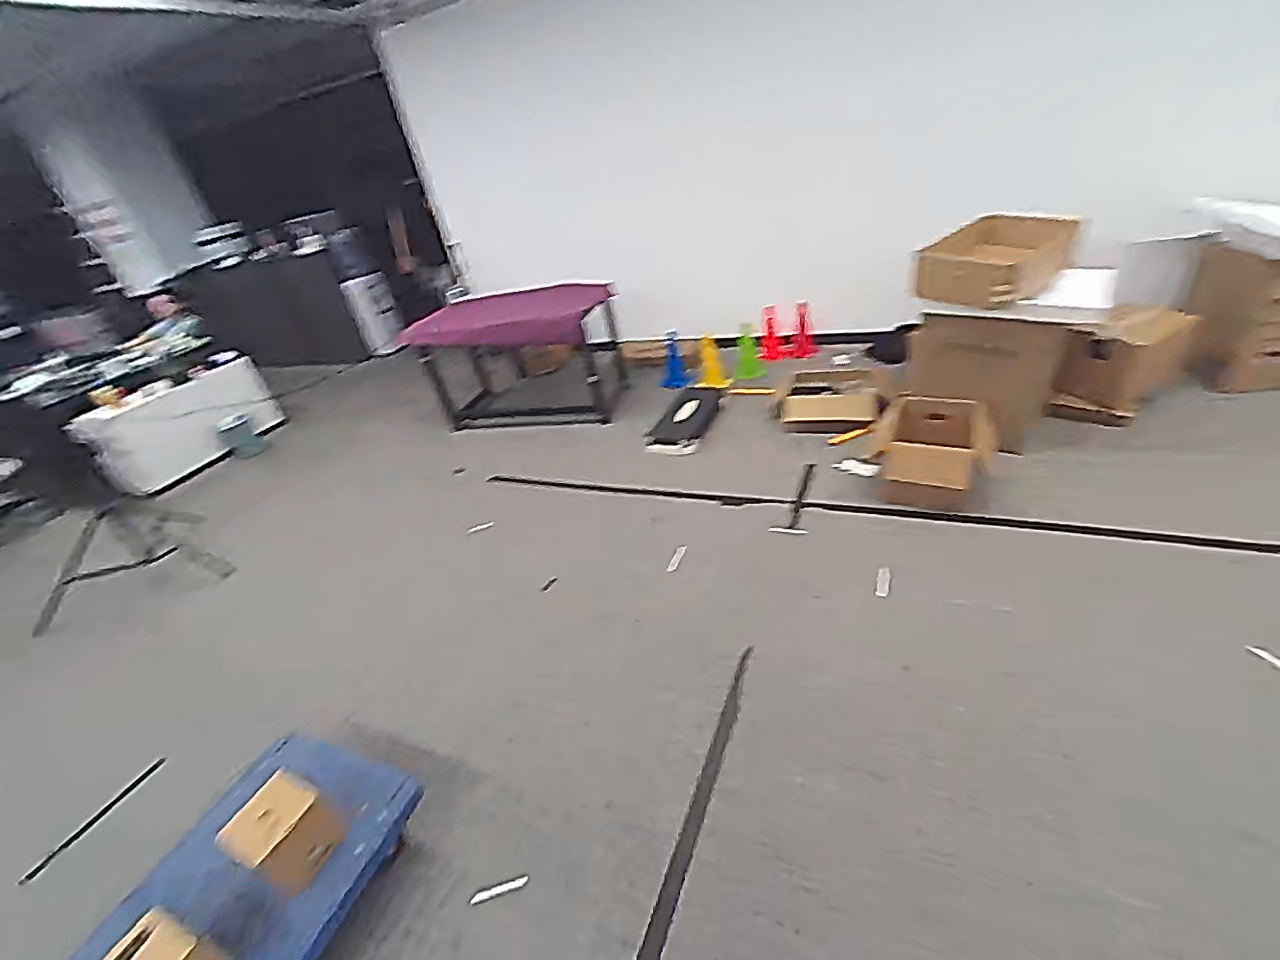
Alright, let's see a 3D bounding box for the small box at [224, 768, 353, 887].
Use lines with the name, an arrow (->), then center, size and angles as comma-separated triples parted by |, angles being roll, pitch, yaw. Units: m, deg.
small box -> -0.860, 0.859, 1.336 | 0.179, 0.176, 0.168 | 7, 38, 28
